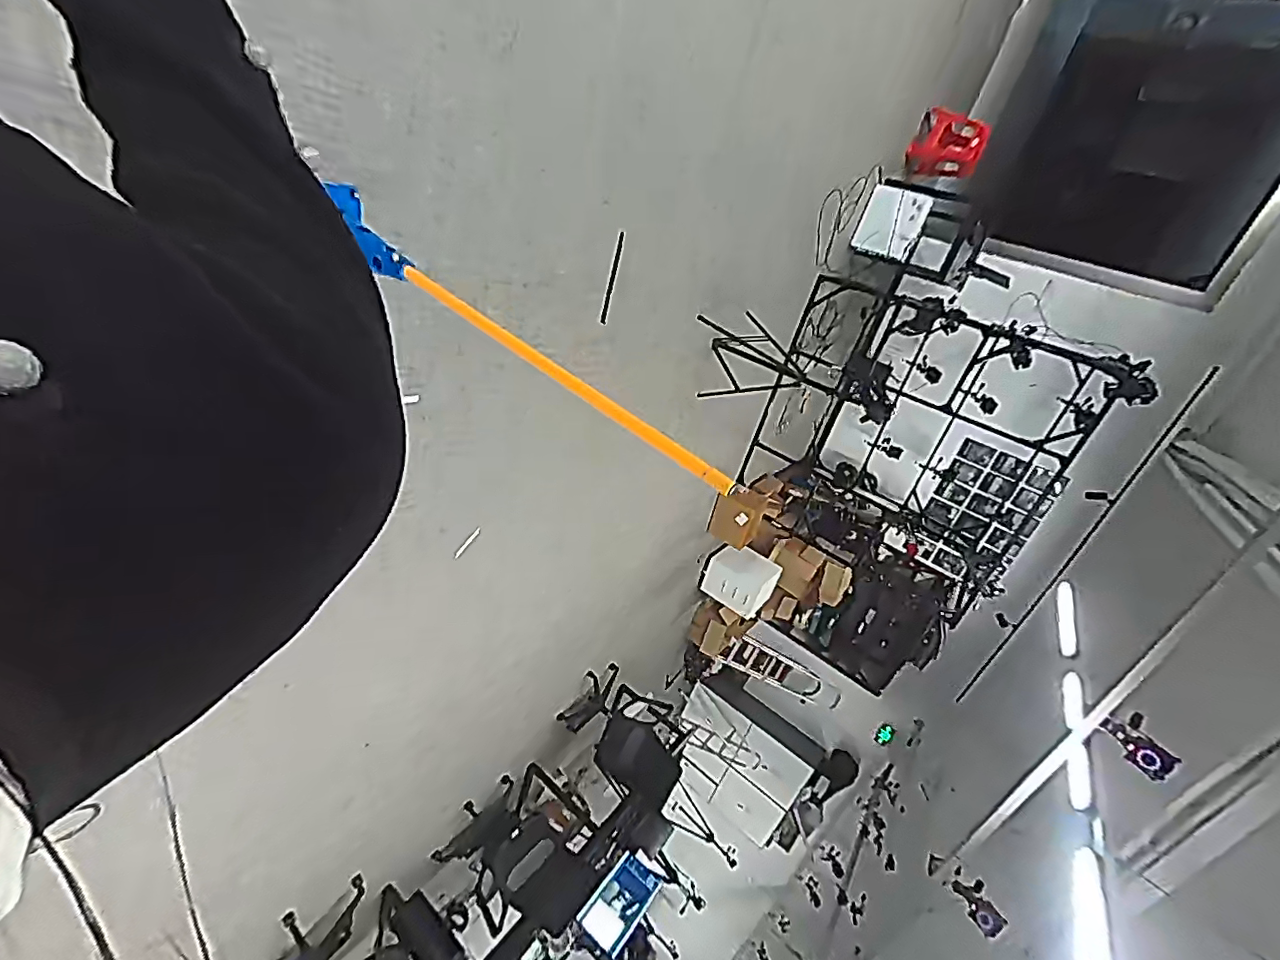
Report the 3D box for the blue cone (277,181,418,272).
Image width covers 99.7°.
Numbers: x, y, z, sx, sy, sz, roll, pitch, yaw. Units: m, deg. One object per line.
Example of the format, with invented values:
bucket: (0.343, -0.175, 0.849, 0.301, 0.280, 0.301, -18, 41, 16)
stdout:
blue cone: (-0.626, -0.528, 1.218, 0.193, 0.380, 0.192, -26, 138, -50)
